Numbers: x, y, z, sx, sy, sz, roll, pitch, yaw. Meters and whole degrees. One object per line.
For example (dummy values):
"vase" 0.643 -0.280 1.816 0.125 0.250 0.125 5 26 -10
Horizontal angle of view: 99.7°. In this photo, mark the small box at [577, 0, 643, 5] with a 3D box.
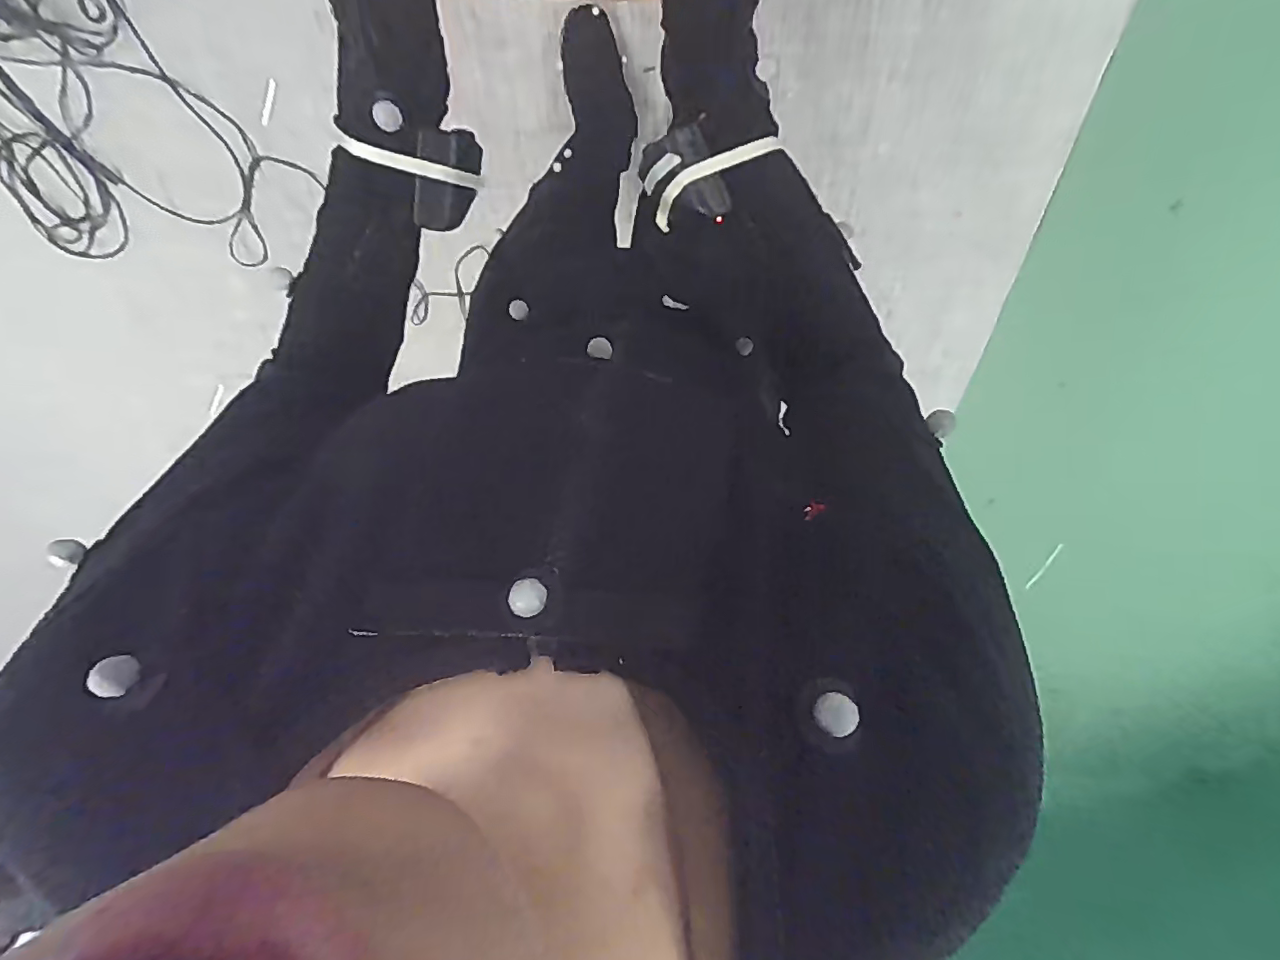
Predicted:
"small box" -0.054 -0.433 0.330 0.168 0.176 0.179 -4 118 -7
